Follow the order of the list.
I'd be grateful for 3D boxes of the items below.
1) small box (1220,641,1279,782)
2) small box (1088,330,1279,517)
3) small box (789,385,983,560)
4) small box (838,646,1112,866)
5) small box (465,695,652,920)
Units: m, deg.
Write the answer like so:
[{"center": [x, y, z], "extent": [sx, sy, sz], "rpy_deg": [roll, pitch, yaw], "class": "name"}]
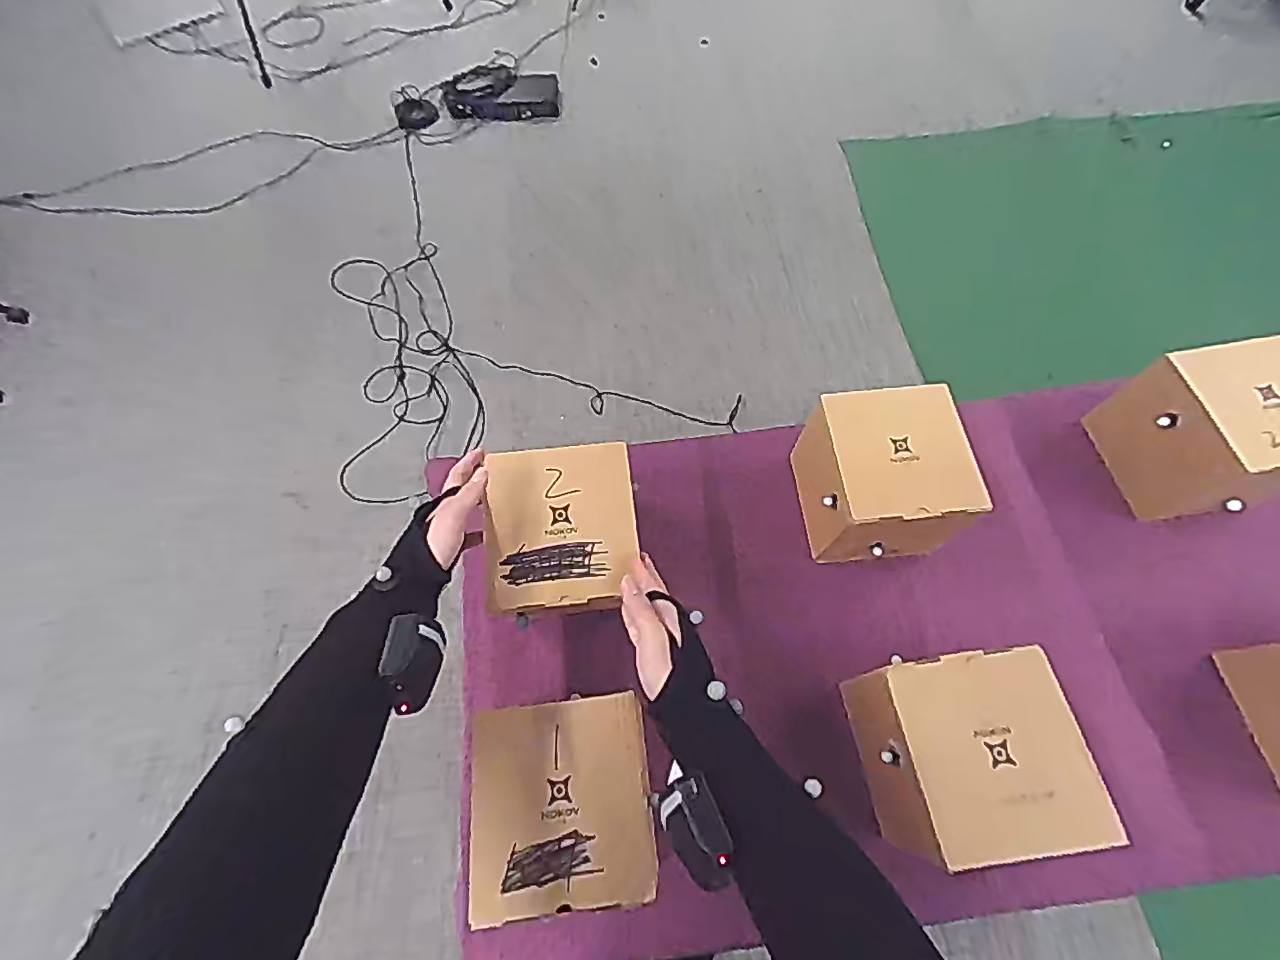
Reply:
[{"center": [0.801, 0.251, 0.572], "extent": [0.168, 0.176, 0.179], "rpy_deg": [-7, 65, 2], "class": "small box"}, {"center": [0.761, -0.069, 0.720], "extent": [0.168, 0.176, 0.179], "rpy_deg": [-10, 66, 2], "class": "small box"}, {"center": [0.309, -0.004, 0.725], "extent": [0.168, 0.176, 0.179], "rpy_deg": [-6, 67, 0], "class": "small box"}, {"center": [0.334, 0.291, 0.588], "extent": [0.168, 0.176, 0.179], "rpy_deg": [-8, 64, 1], "class": "small box"}, {"center": [-0.079, 0.341, 0.589], "extent": [0.168, 0.176, 0.179], "rpy_deg": [-7, 63, 0], "class": "small box"}]
